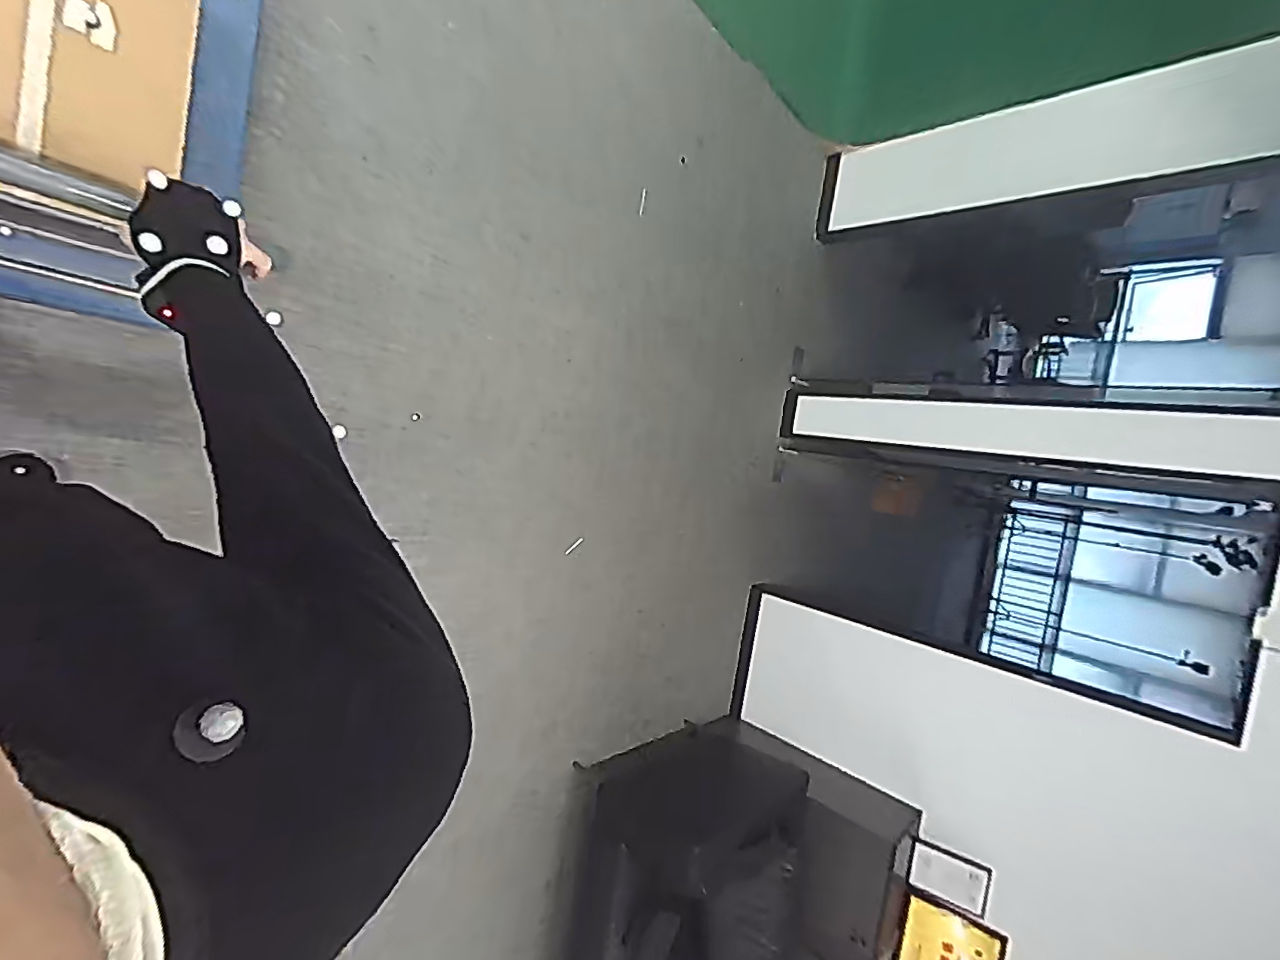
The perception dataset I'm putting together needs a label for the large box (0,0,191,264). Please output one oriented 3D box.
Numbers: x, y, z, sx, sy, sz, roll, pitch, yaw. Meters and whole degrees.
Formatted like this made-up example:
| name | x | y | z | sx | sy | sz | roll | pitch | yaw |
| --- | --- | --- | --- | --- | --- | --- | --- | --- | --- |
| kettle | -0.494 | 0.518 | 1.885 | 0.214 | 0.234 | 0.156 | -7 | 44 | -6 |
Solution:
| name | x | y | z | sx | sy | sz | roll | pitch | yaw |
| --- | --- | --- | --- | --- | --- | --- | --- | --- | --- |
| large box | -0.923 | -0.599 | 0.827 | 0.320 | 0.320 | 0.408 | 6 | 93 | -48 |
